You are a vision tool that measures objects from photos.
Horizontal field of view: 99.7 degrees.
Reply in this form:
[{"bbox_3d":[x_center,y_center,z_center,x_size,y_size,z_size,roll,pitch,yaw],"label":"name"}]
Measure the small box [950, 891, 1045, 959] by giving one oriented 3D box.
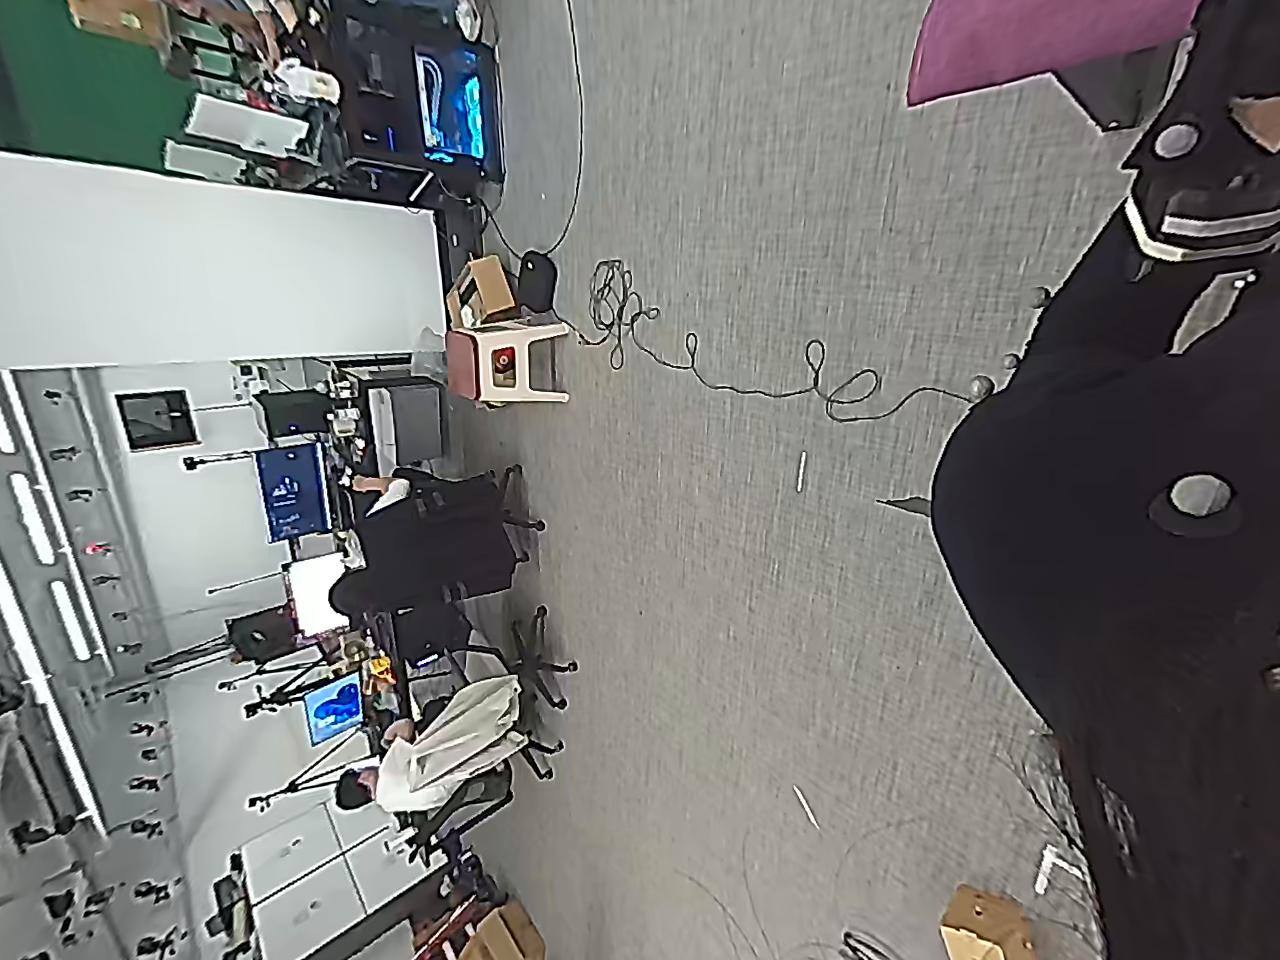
[{"bbox_3d":[1.020,1.329,1.538,0.168,0.176,0.179,-20,85,50],"label":"small box"}]
